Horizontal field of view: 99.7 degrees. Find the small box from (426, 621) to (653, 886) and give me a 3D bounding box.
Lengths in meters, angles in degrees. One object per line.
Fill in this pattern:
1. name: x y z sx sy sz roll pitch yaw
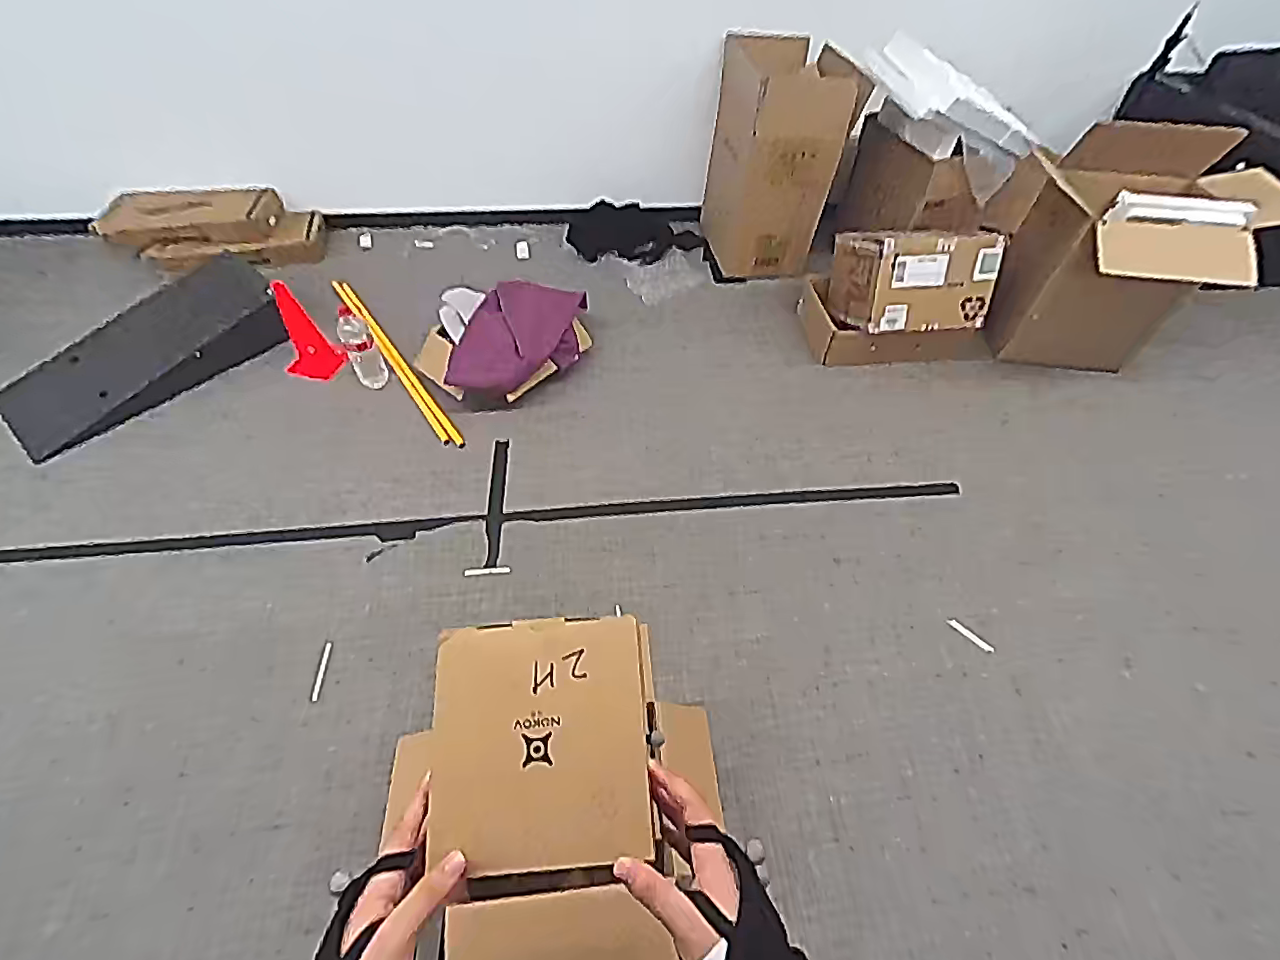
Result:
1. small box: -0.076 0.233 0.489 0.168 0.176 0.179 -4 67 -1
